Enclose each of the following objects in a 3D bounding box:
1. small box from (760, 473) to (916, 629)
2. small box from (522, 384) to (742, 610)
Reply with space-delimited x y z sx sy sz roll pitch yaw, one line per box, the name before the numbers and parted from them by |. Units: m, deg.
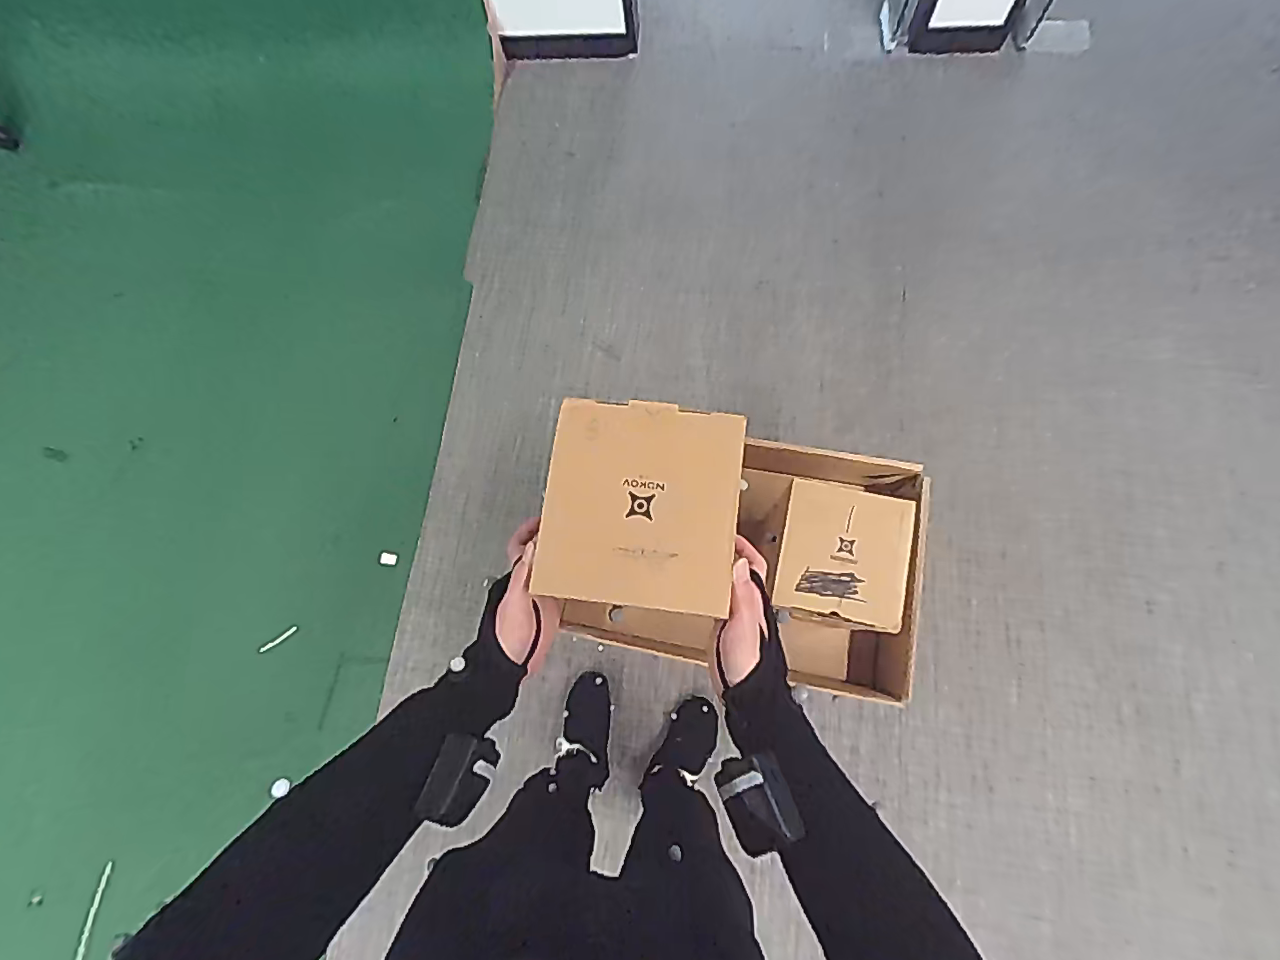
small box | 0.273 0.107 0.782 0.168 0.176 0.179 12 77 9
small box | -0.002 0.028 0.528 0.168 0.176 0.179 7 77 4
